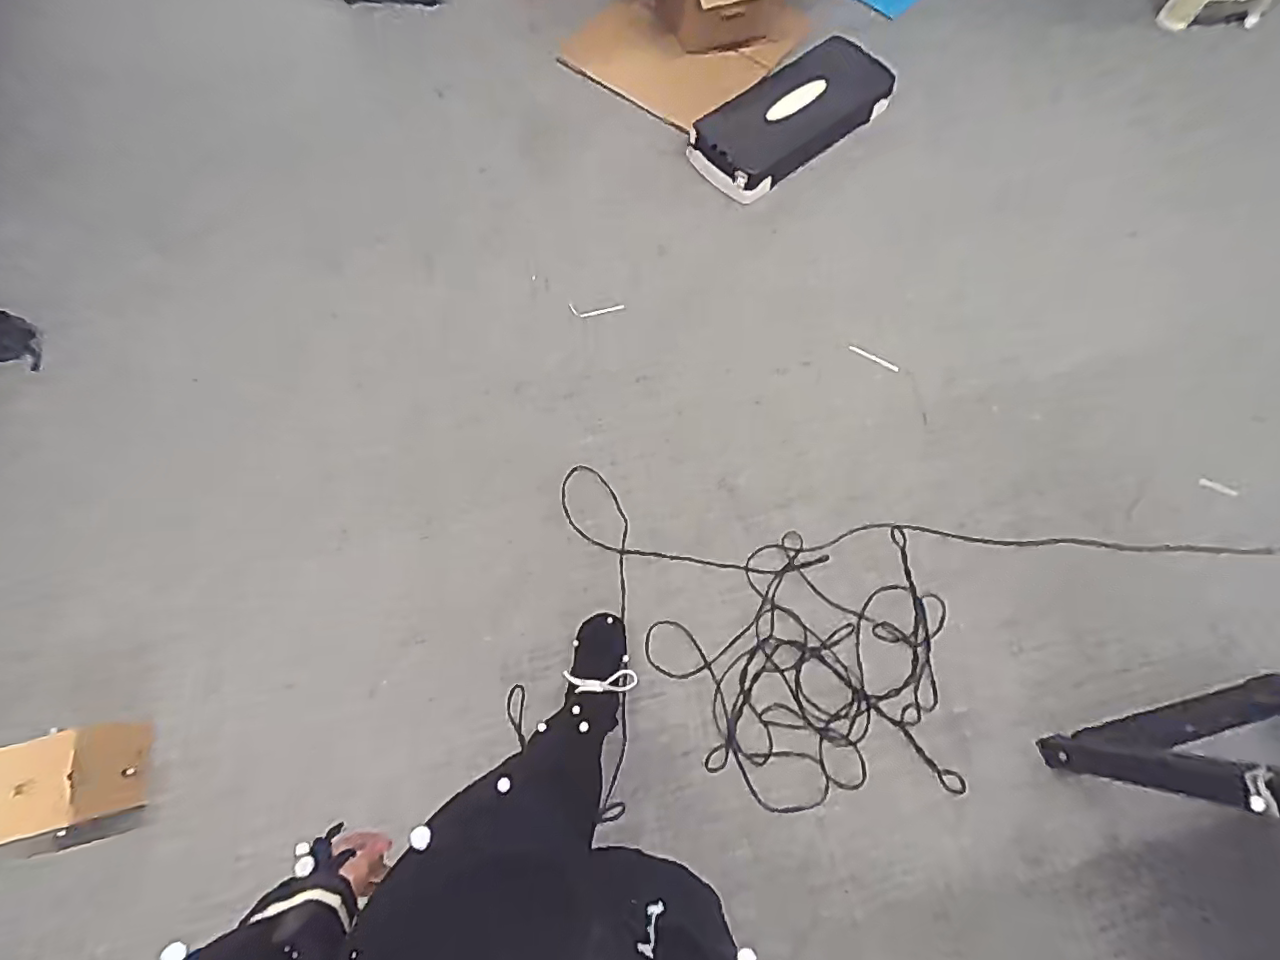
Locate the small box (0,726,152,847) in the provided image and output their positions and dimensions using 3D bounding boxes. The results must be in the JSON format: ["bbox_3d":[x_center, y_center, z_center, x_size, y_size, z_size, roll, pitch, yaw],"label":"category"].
[{"bbox_3d":[-1.109,0.588,1.046,0.179,0.176,0.168,-14,71,-6],"label":"small box"}]
